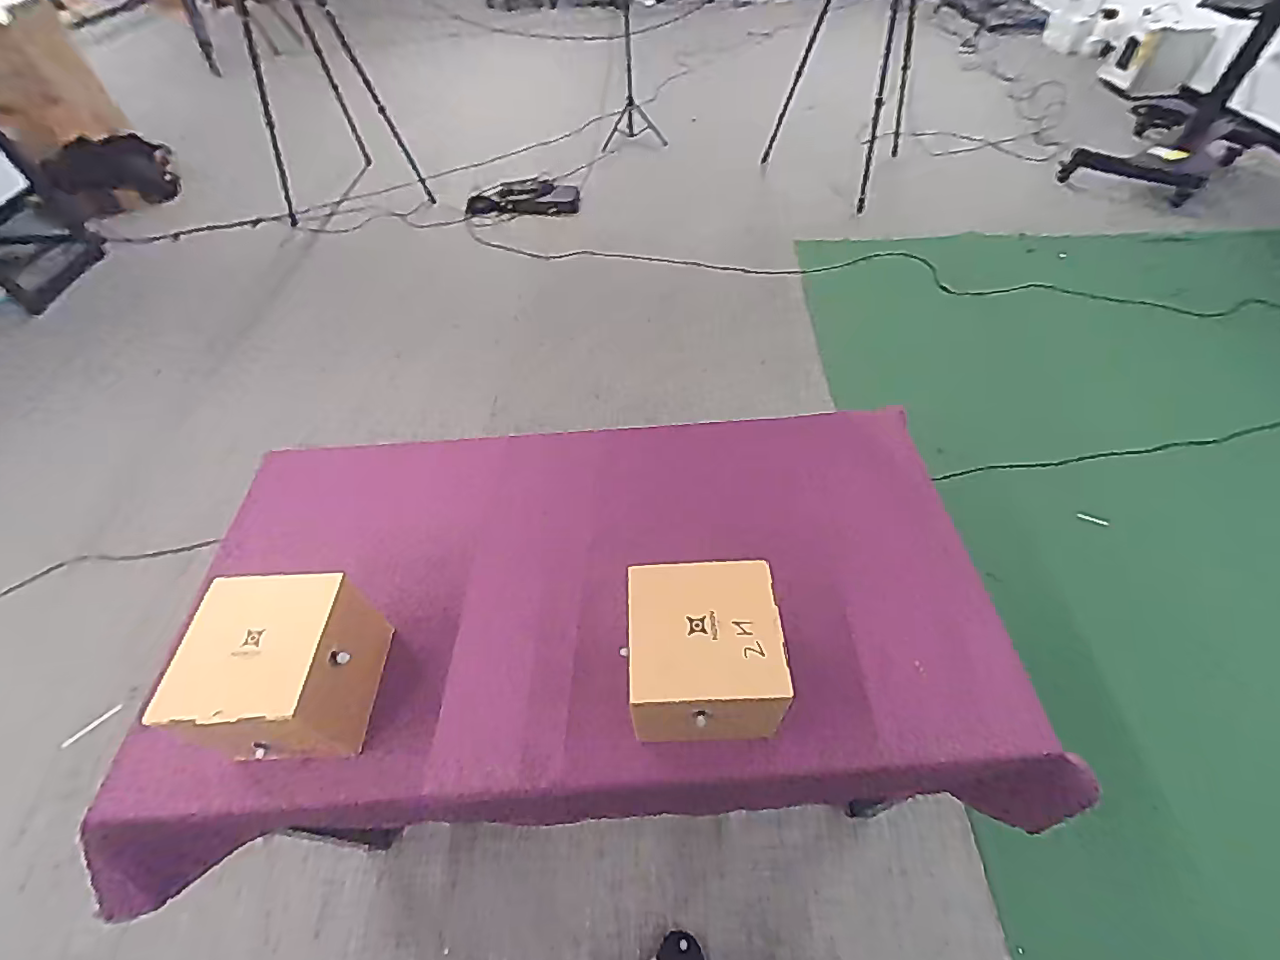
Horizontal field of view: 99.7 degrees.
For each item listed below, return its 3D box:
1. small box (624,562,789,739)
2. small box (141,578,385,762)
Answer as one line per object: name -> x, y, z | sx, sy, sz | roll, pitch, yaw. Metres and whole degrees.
small box -> 0.073, 0.218, 0.679 | 0.179, 0.176, 0.168 | -2, 52, 1
small box -> -0.448, 0.242, 0.684 | 0.168, 0.176, 0.179 | -2, 52, 0
